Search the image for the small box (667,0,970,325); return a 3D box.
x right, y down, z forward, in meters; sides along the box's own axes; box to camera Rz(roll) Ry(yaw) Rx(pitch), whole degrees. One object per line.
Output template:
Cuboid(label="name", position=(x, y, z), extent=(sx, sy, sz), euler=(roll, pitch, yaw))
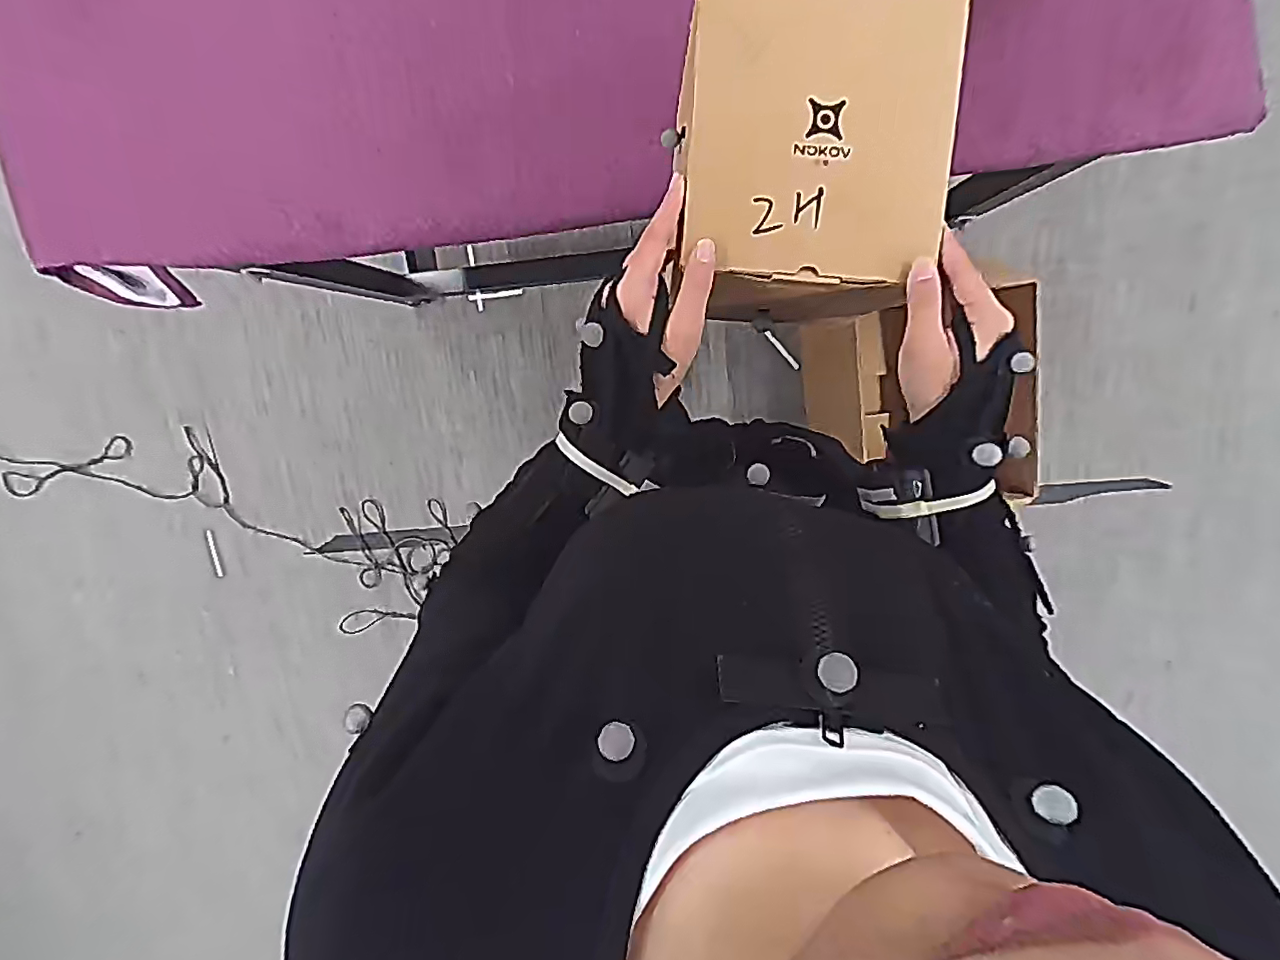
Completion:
Cuboid(label="small box", position=(0.112, -0.228, 0.412), extent=(0.168, 0.176, 0.179), euler=(4, 96, -1))
